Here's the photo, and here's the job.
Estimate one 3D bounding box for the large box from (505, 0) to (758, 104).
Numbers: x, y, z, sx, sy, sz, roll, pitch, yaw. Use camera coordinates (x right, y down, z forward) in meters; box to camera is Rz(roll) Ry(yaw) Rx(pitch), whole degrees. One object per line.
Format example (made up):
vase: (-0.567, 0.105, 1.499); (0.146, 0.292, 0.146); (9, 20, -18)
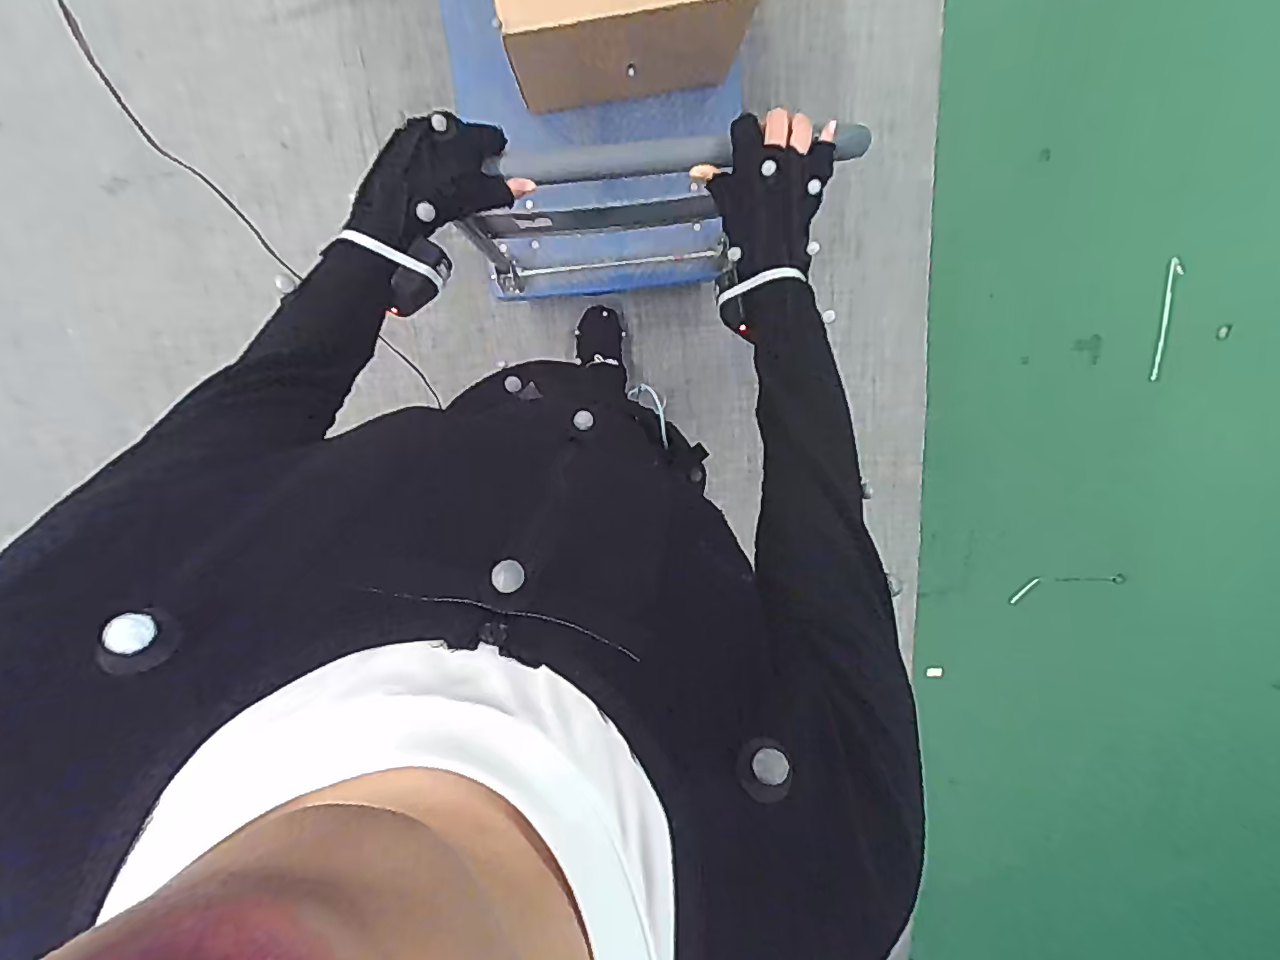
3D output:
large box: (-0.032, -0.904, 0.921); (0.408, 0.320, 0.320); (-11, 106, 2)
